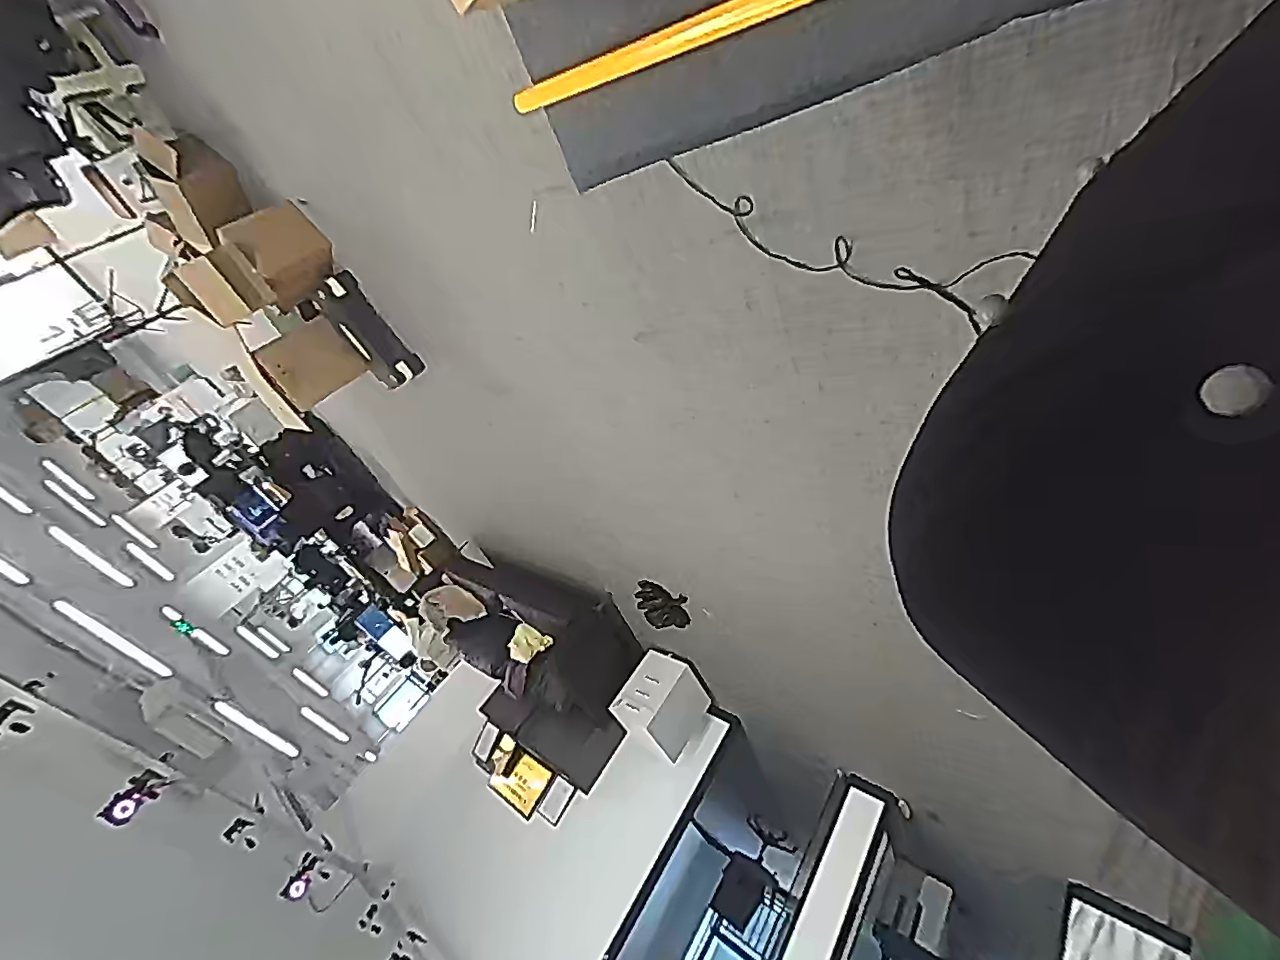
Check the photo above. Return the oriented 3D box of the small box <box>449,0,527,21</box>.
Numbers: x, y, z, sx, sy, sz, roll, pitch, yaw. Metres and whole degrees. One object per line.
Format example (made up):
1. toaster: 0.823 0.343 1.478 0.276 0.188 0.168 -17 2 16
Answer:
1. small box: -0.116 -0.583 0.500 0.168 0.176 0.179 4 134 46
